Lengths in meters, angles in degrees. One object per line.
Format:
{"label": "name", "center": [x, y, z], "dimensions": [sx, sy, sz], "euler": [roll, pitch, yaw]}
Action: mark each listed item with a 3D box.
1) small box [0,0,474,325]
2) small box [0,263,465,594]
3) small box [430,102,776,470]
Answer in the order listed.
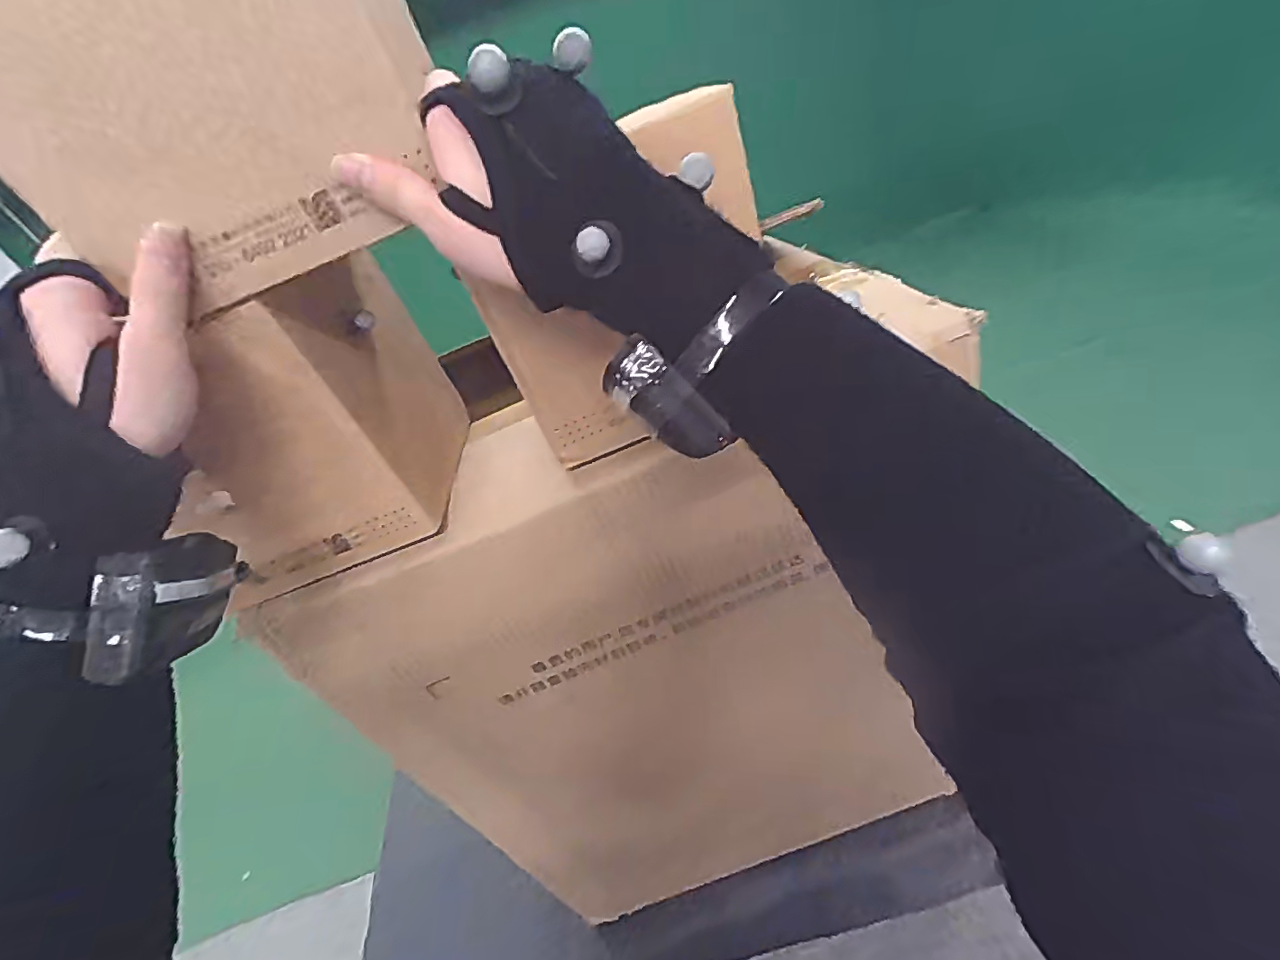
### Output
{"label": "small box", "center": [-0.203, -0.204, 0.285], "dimensions": [0.168, 0.176, 0.179], "euler": [-22, 36, 2]}
{"label": "small box", "center": [-0.248, -0.041, 0.389], "dimensions": [0.168, 0.176, 0.179], "euler": [-21, 33, 6]}
{"label": "small box", "center": [-0.024, -0.135, 0.384], "dimensions": [0.168, 0.176, 0.179], "euler": [-24, 34, 0]}
